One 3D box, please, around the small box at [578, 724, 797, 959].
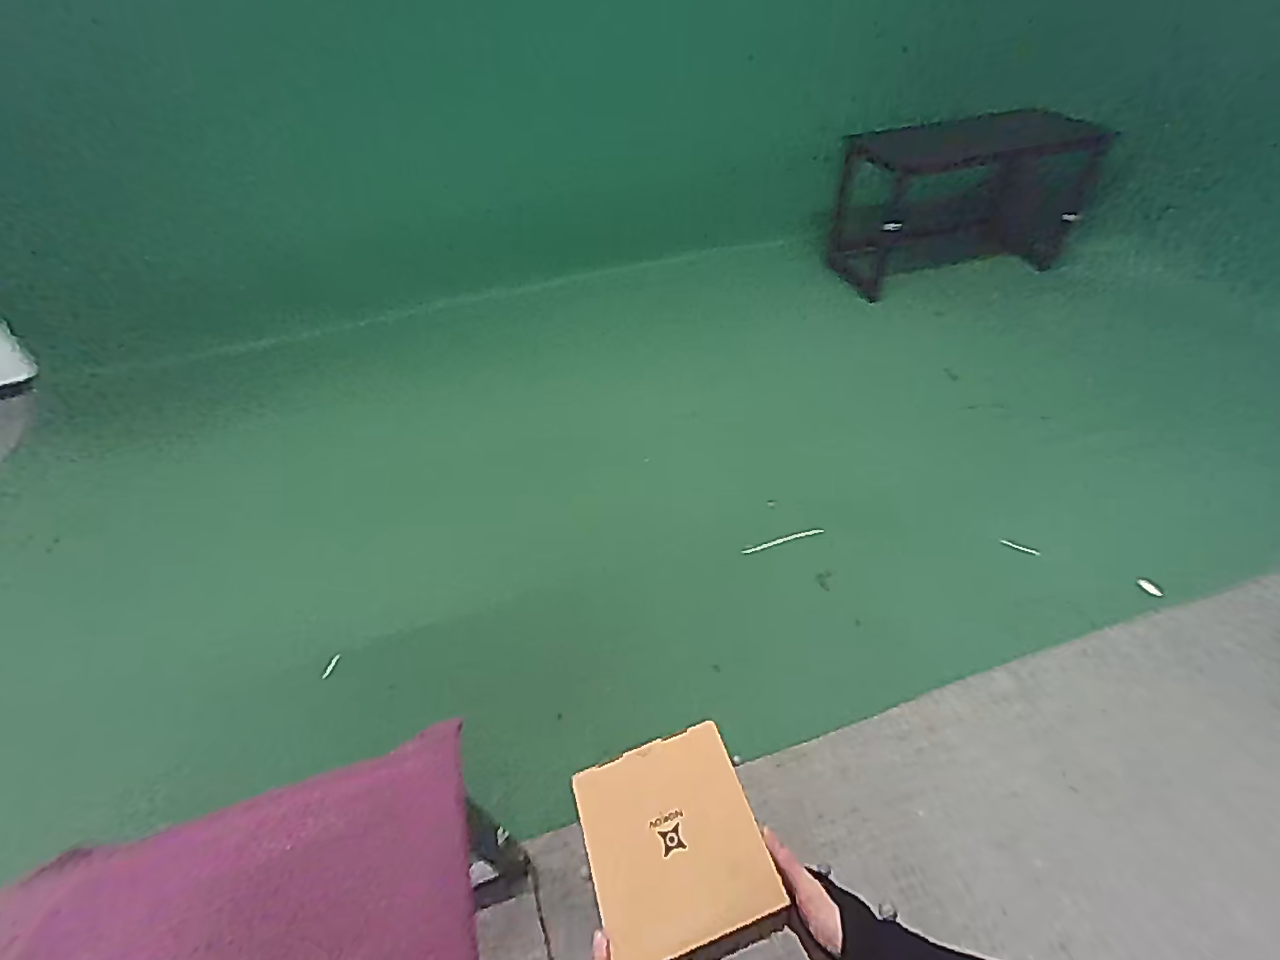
[{"bbox_3d":[0.048,0.396,0.568,0.168,0.176,0.179,-18,44,-7],"label":"small box"}]
